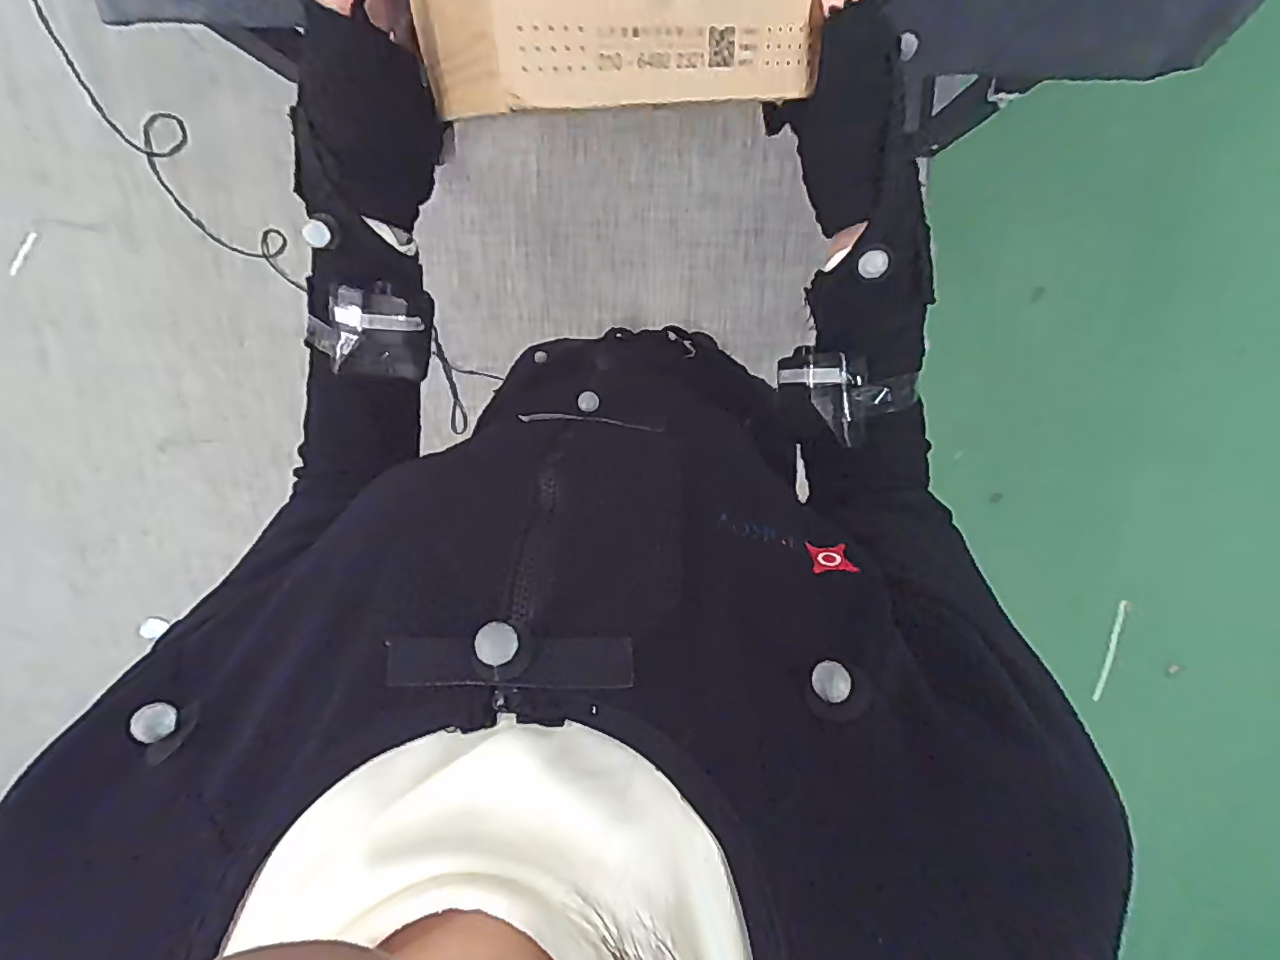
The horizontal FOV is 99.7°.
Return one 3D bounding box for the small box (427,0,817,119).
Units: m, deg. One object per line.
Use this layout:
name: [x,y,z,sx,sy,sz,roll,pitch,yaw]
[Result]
small box: [-0.022,-0.292,0.281,0.168,0.179,0.176,-19,127,-21]
